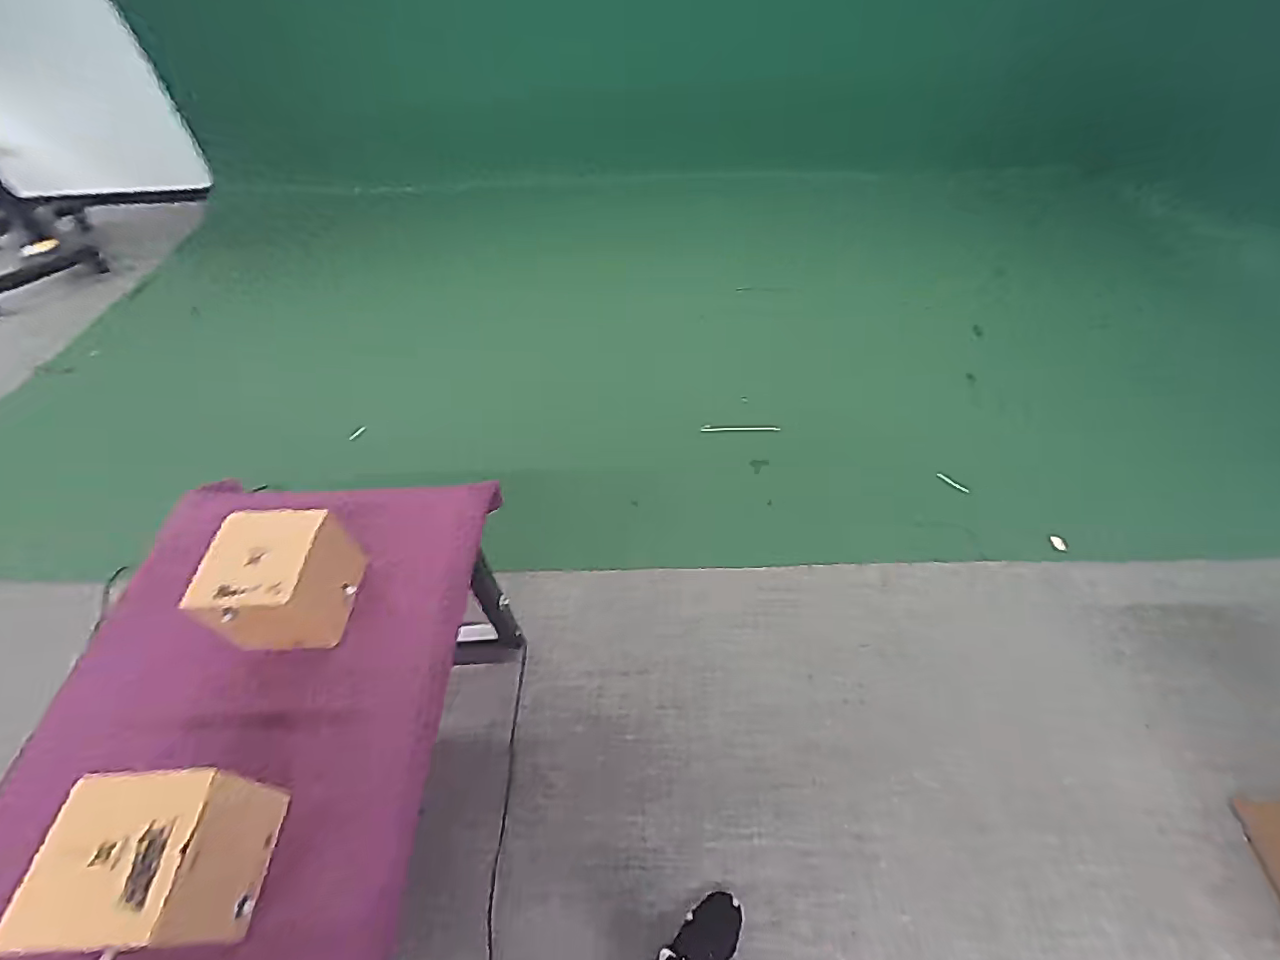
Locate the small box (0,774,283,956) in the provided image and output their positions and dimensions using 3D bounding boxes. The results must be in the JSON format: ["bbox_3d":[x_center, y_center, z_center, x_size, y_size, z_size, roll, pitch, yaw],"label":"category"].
[{"bbox_3d":[-0.594,0.476,0.673,0.179,0.176,0.168,-3,50,0],"label":"small box"}]

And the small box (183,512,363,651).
[{"bbox_3d":[-0.604,0.174,0.922,0.168,0.176,0.179,-2,50,1],"label":"small box"}]
